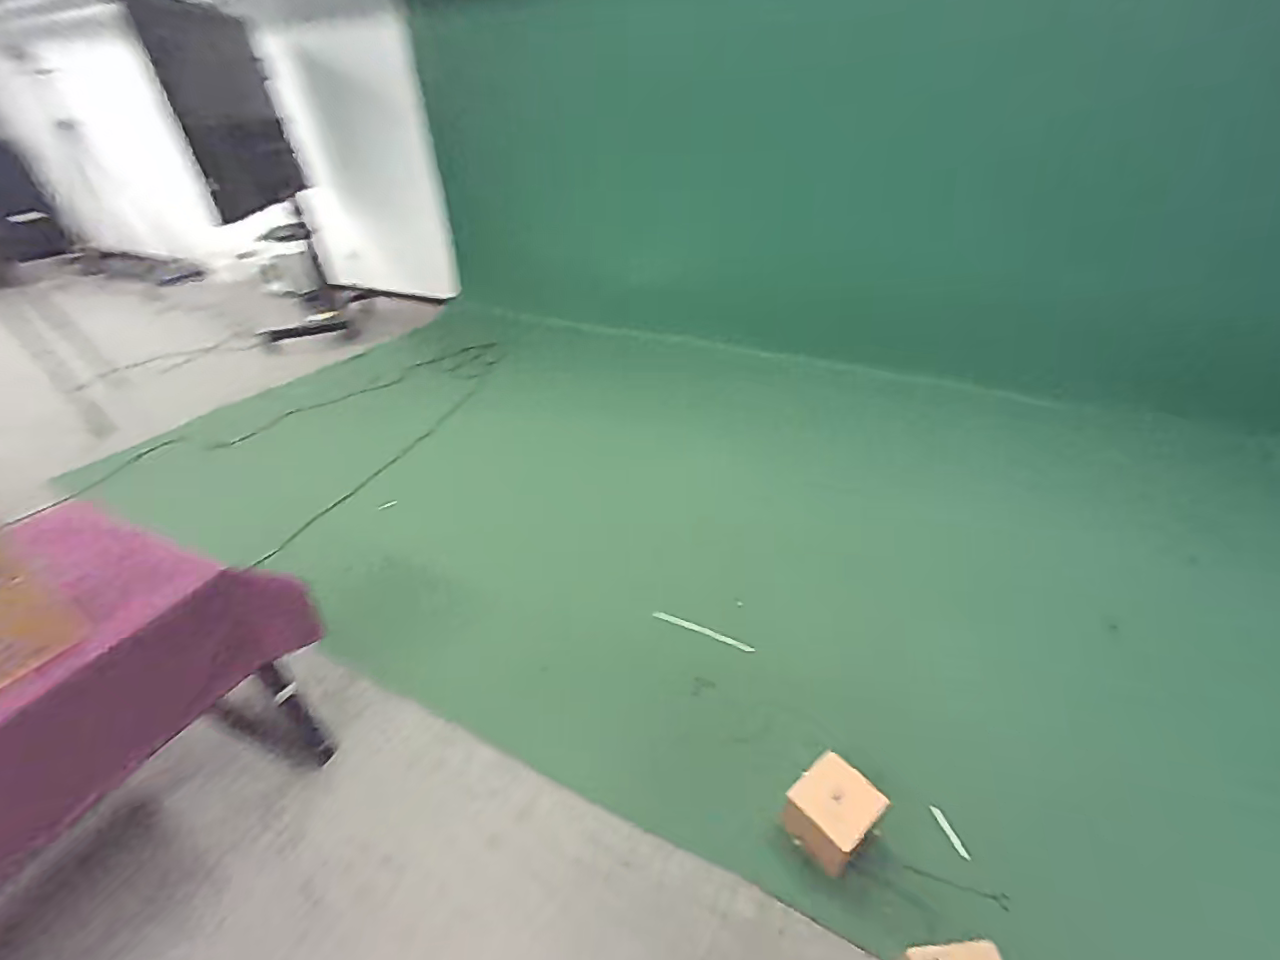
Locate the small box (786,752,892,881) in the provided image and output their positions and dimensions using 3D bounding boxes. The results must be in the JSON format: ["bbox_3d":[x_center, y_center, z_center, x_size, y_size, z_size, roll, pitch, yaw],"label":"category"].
[{"bbox_3d":[0.476,0.818,1.319,0.179,0.176,0.168,-25,41,-29],"label":"small box"}]
